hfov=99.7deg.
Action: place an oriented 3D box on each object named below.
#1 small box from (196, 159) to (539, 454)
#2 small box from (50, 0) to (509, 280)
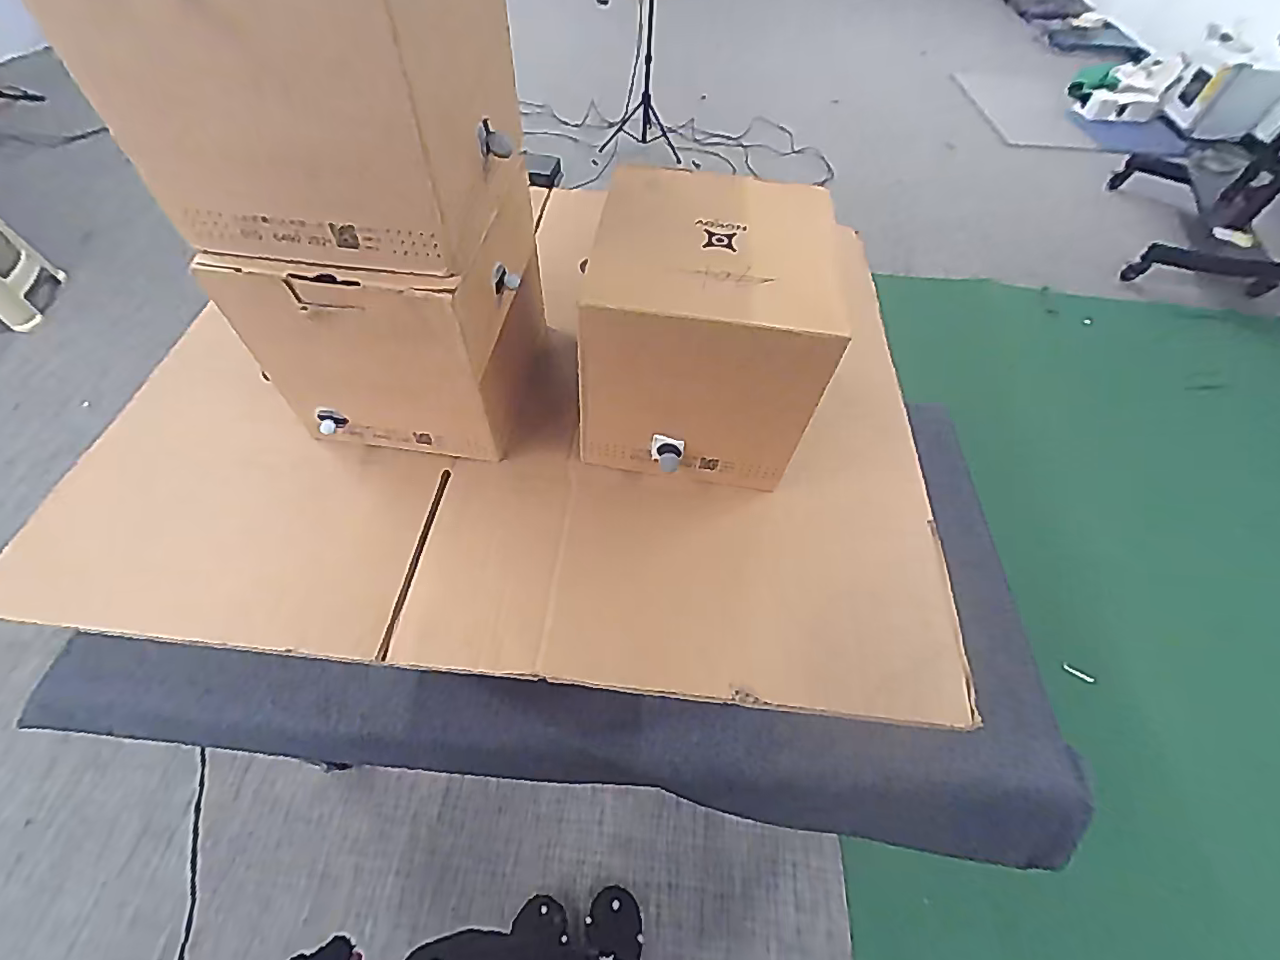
[{"bbox_3d":[-0.186,-0.141,0.440,0.168,0.176,0.179,7,55,2],"label":"small box"},{"bbox_3d":[-0.181,-0.244,0.313,0.168,0.176,0.179,6,55,1],"label":"small box"}]
